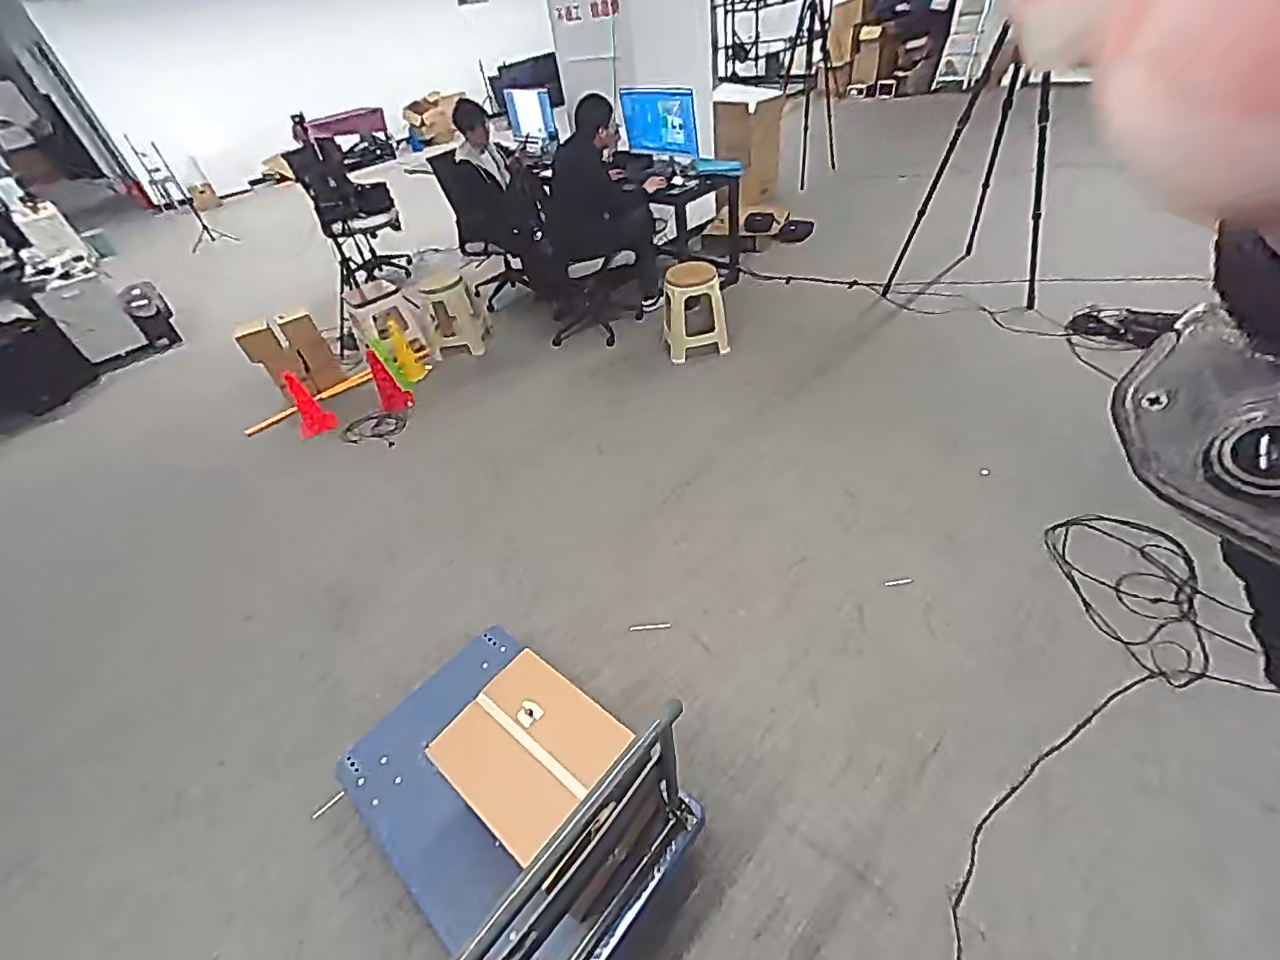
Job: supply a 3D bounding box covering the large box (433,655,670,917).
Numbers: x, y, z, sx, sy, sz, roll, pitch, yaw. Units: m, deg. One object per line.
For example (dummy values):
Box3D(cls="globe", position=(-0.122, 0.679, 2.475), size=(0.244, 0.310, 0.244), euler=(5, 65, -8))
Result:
Box3D(cls="large box", position=(-0.189, 0.698, 1.261), size=(0.408, 0.320, 0.320), euler=(24, 52, 33))
